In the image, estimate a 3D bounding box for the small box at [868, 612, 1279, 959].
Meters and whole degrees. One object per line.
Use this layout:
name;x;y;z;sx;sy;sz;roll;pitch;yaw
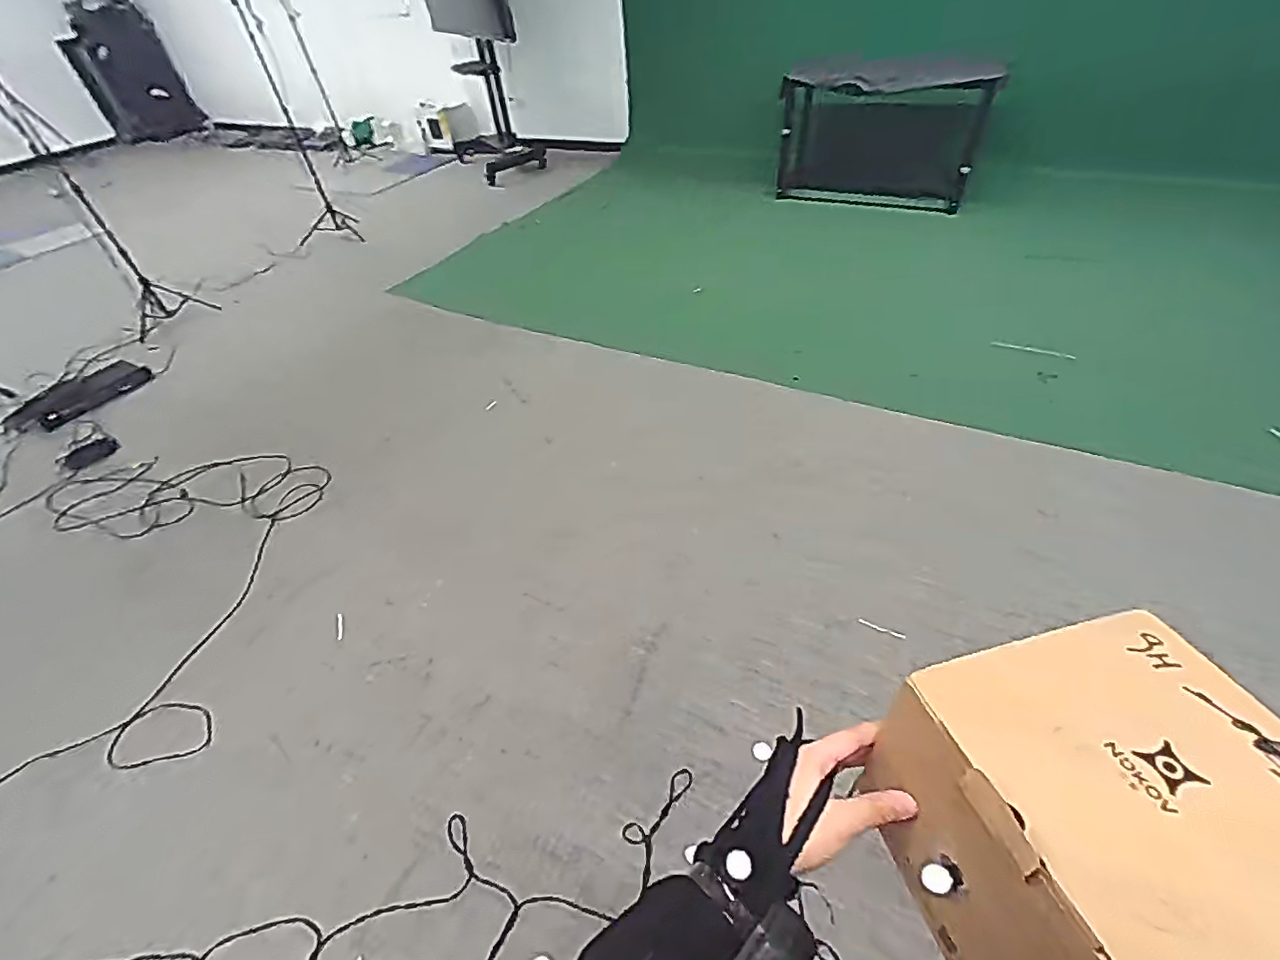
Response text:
small box;0.264;0.215;0.336;0.179;0.176;0.168;-12;40;-7
